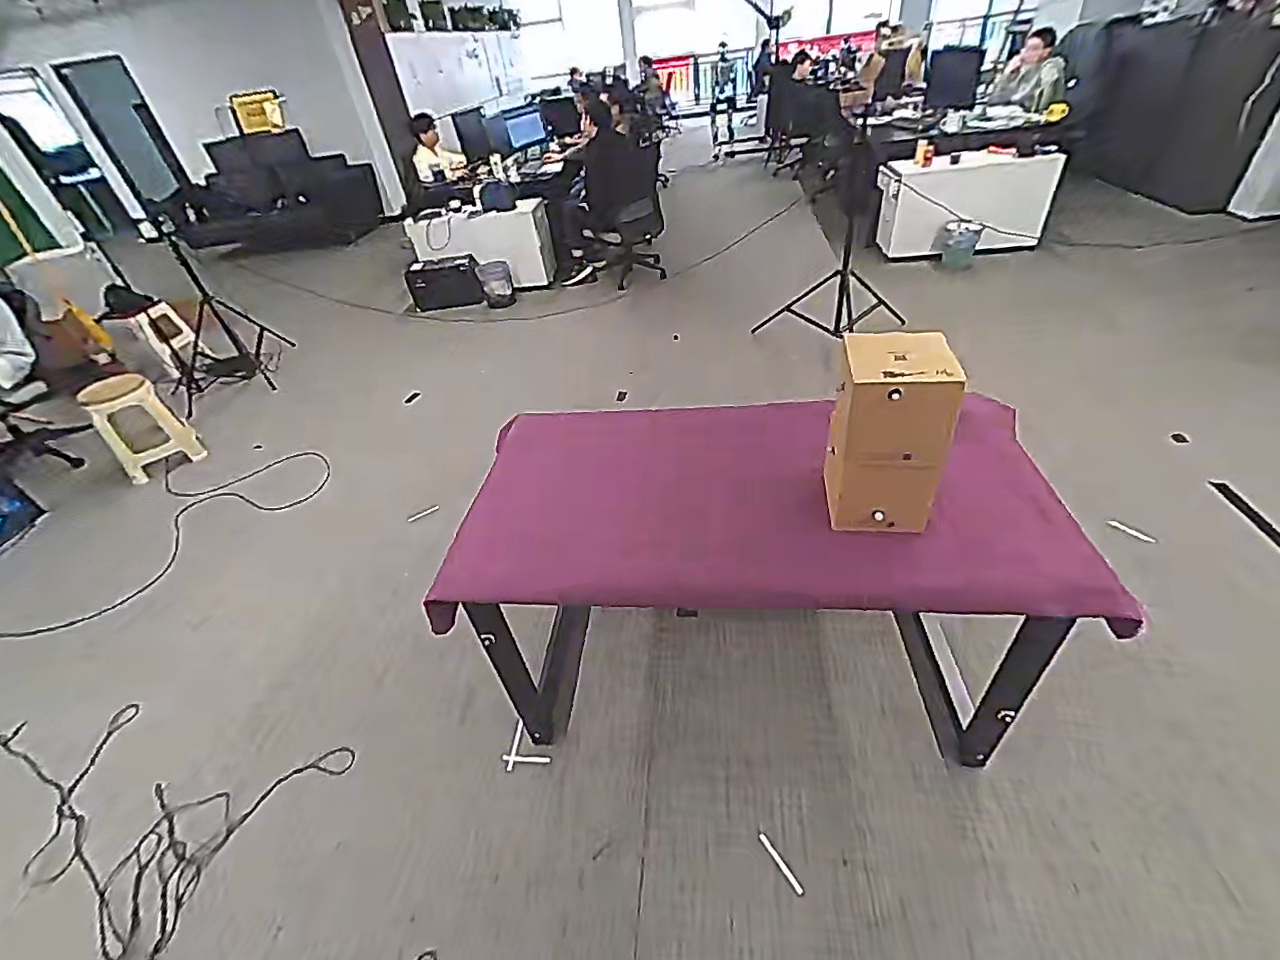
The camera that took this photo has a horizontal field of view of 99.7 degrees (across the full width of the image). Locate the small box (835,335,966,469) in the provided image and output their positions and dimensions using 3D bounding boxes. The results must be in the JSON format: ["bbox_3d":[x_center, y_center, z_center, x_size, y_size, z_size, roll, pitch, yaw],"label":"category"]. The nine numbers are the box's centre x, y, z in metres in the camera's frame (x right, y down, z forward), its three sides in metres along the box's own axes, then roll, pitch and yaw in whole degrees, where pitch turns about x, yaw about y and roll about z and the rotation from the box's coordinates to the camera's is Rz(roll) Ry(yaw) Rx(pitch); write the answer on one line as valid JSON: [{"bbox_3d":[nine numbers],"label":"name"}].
[{"bbox_3d":[0.440,-0.139,0.945,0.168,0.176,0.179,1,39,13],"label":"small box"}]

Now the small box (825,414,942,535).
[{"bbox_3d":[0.460,-0.015,1.051,0.168,0.176,0.179,0,40,11],"label":"small box"}]
